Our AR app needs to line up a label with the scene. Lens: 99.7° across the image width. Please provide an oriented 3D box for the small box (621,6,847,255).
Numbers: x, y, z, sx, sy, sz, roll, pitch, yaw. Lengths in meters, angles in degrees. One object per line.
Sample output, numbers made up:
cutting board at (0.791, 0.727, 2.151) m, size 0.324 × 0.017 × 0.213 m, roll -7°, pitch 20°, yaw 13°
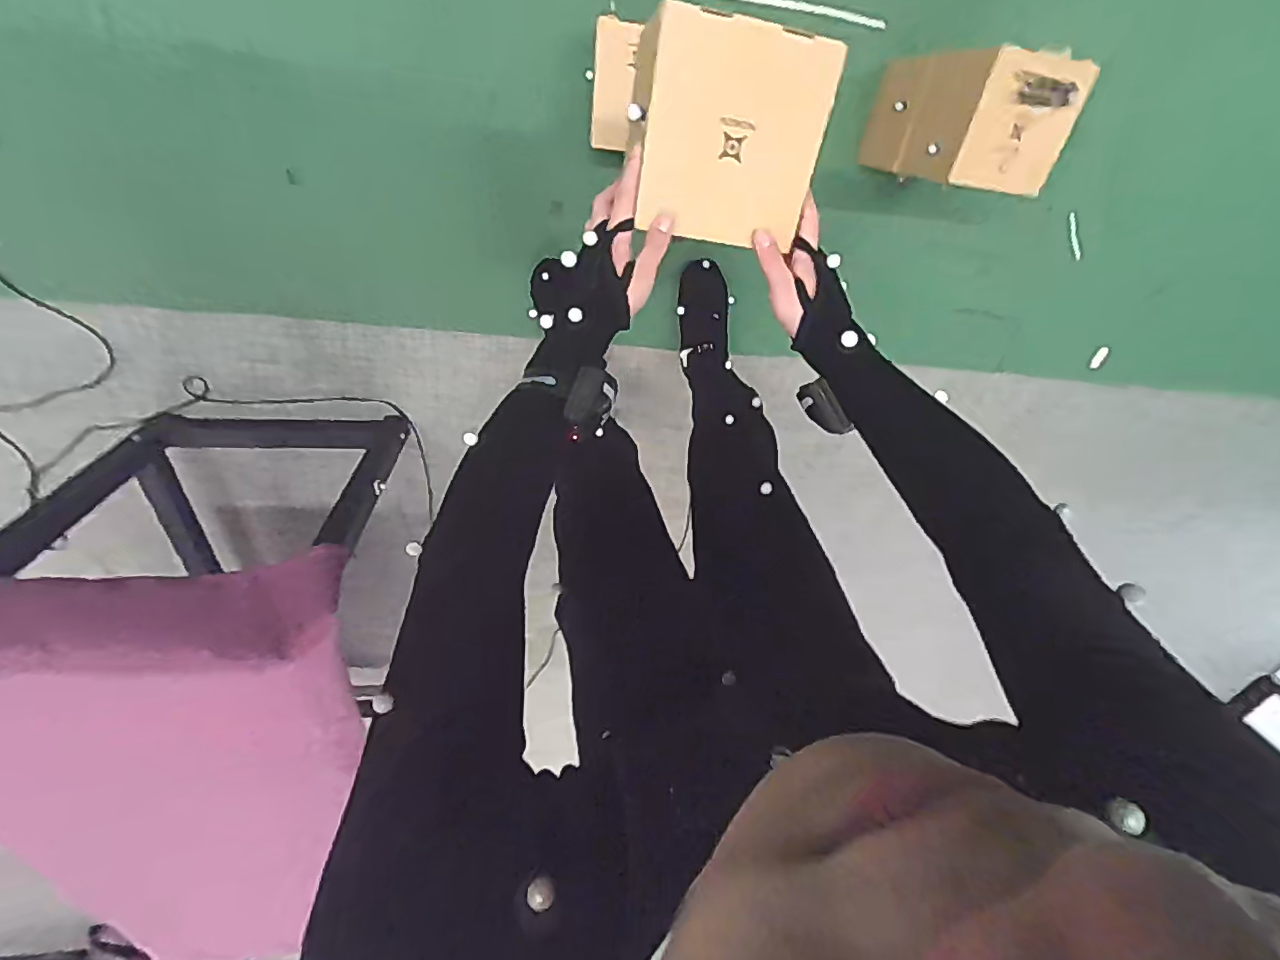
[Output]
small box at (0.076, -0.357, 0.558) m, size 0.168 × 0.176 × 0.179 m, roll 3°, pitch 129°, yaw -12°

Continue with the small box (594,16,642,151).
small box at (0.007, -0.680, 0.947) m, size 0.168 × 0.176 × 0.179 m, roll 2°, pitch 126°, yaw -7°

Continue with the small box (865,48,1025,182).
small box at (0.552, -0.676, 1.010) m, size 0.168 × 0.176 × 0.179 m, roll 4°, pitch 125°, yaw -9°
